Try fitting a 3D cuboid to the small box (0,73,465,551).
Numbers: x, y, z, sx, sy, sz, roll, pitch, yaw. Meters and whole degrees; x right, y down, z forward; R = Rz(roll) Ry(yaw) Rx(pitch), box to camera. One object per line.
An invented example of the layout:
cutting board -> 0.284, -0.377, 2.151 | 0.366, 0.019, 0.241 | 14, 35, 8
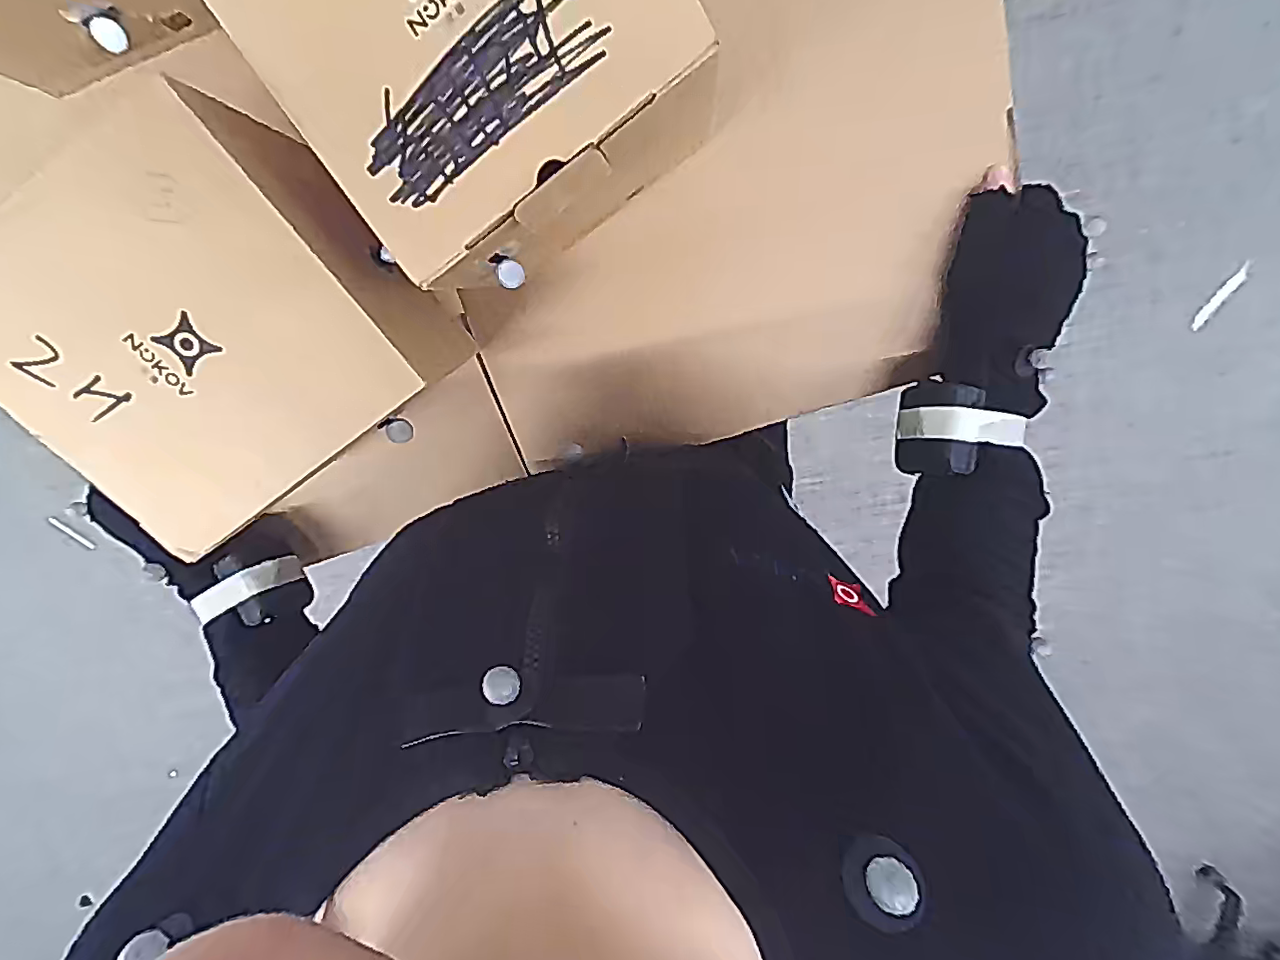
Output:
small box -> -0.231, -0.095, 0.340 | 0.179, 0.176, 0.168 | -34, 110, 6
